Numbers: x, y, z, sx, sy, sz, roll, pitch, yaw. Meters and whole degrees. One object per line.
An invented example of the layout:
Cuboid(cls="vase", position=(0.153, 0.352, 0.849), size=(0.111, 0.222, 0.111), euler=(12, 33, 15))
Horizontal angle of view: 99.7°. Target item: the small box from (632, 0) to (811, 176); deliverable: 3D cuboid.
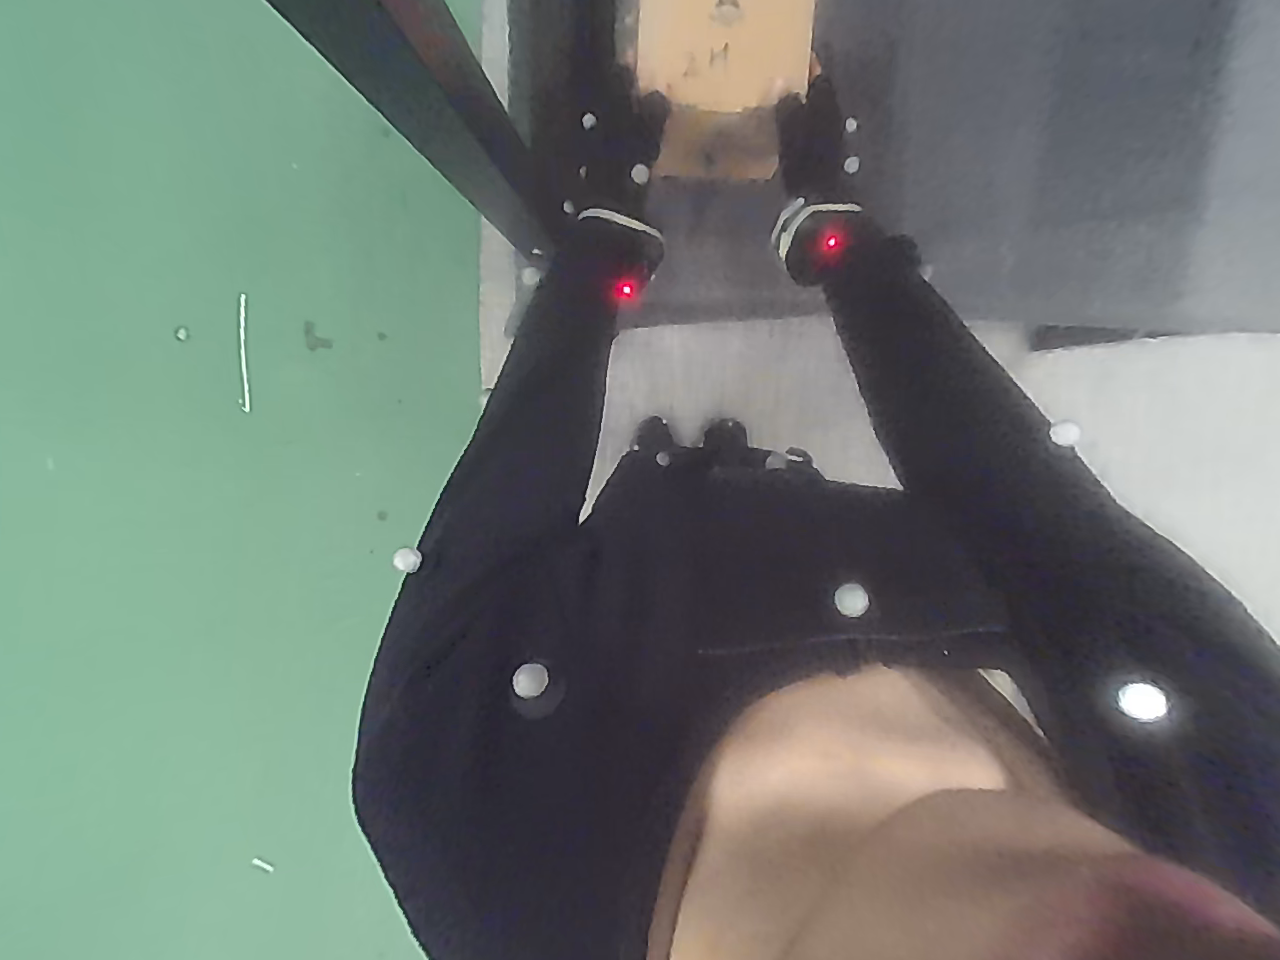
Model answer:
Cuboid(cls="small box", position=(0.081, -0.458, 0.583), size=(0.168, 0.176, 0.179), euler=(3, 99, 3))
